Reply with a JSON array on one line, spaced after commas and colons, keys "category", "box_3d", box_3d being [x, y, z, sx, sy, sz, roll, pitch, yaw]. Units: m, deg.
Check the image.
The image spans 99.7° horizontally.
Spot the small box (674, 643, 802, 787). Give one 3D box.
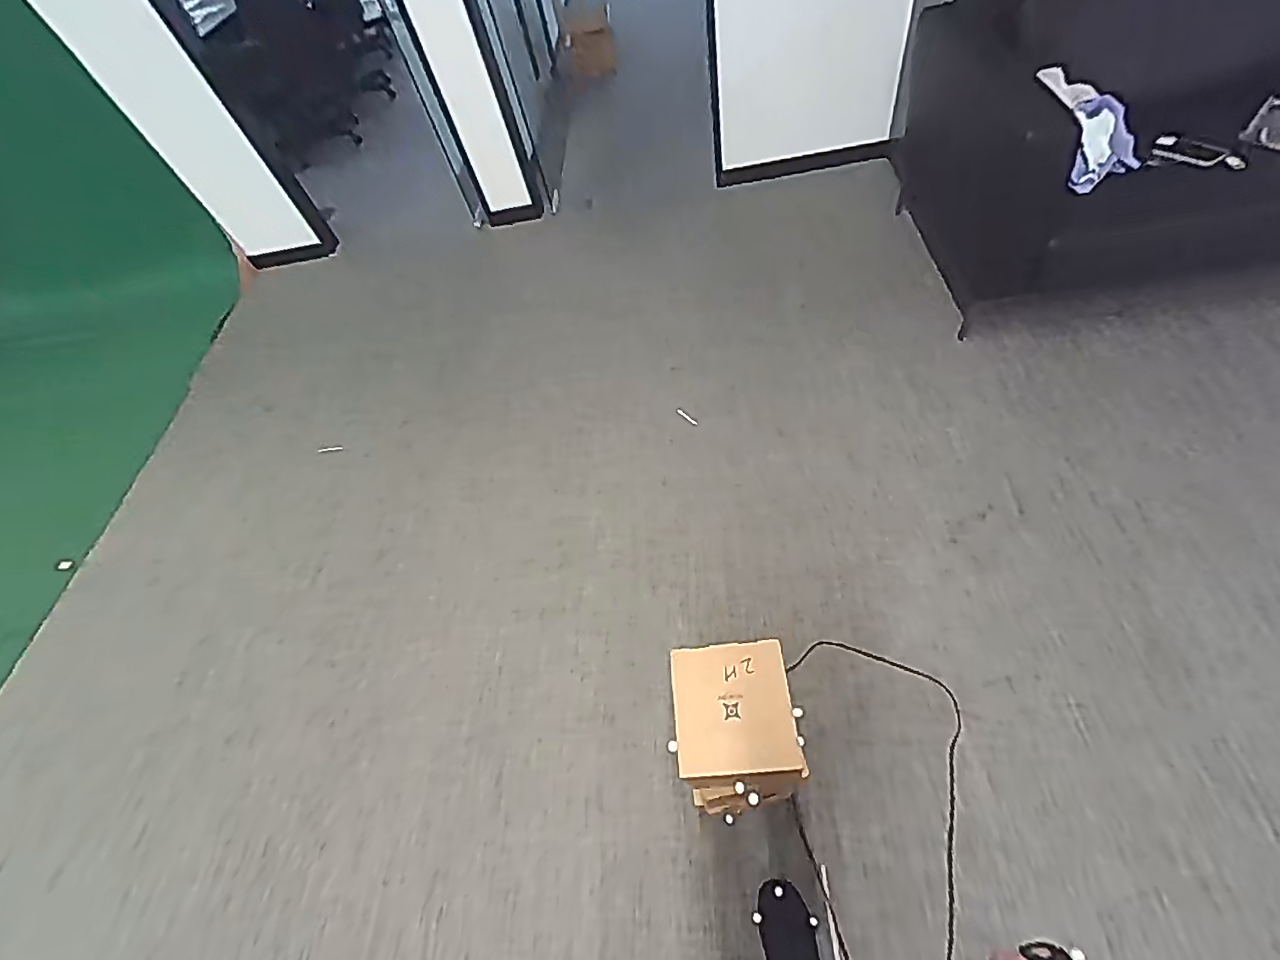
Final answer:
[{"category": "small box", "box_3d": [0.150, 0.368, 0.832, 0.168, 0.176, 0.179, -8, 55, 8]}]

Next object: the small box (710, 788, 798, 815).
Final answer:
[{"category": "small box", "box_3d": [0.207, 0.560, 1.092, 0.168, 0.176, 0.179, -18, 53, 1]}]

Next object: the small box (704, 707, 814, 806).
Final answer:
[{"category": "small box", "box_3d": [0.191, 0.465, 0.959, 0.179, 0.176, 0.168, -16, 54, 3]}]
